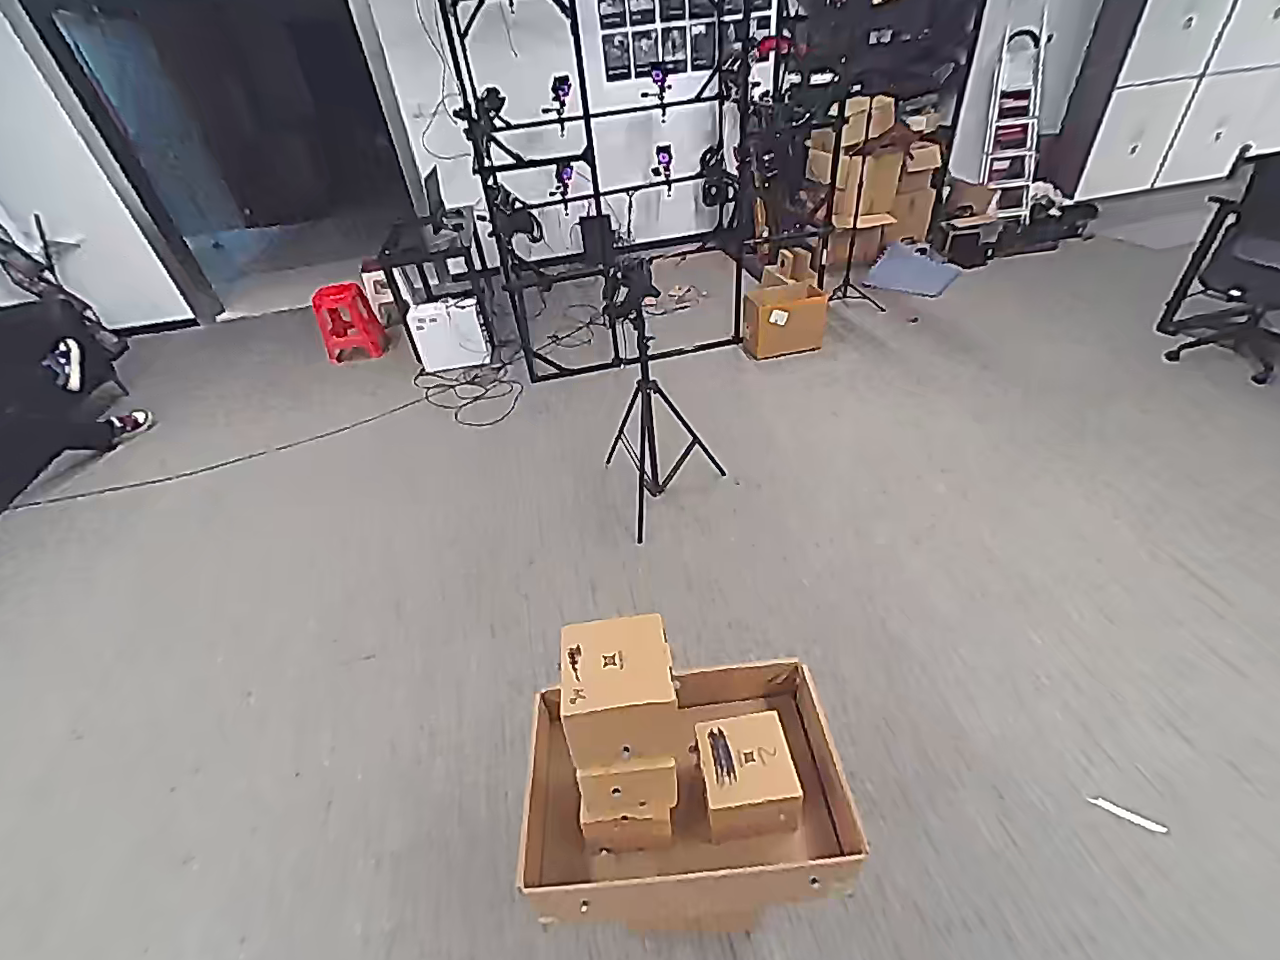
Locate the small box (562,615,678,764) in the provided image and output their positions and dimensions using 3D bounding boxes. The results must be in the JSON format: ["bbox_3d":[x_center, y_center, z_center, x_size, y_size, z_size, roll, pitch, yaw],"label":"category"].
[{"bbox_3d":[-0.033,0.353,0.912,0.179,0.176,0.168,-6,37,-2],"label":"small box"}]

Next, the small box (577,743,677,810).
[{"bbox_3d":[-0.022,0.489,1.004,0.168,0.176,0.179,-5,37,-1],"label":"small box"}]
